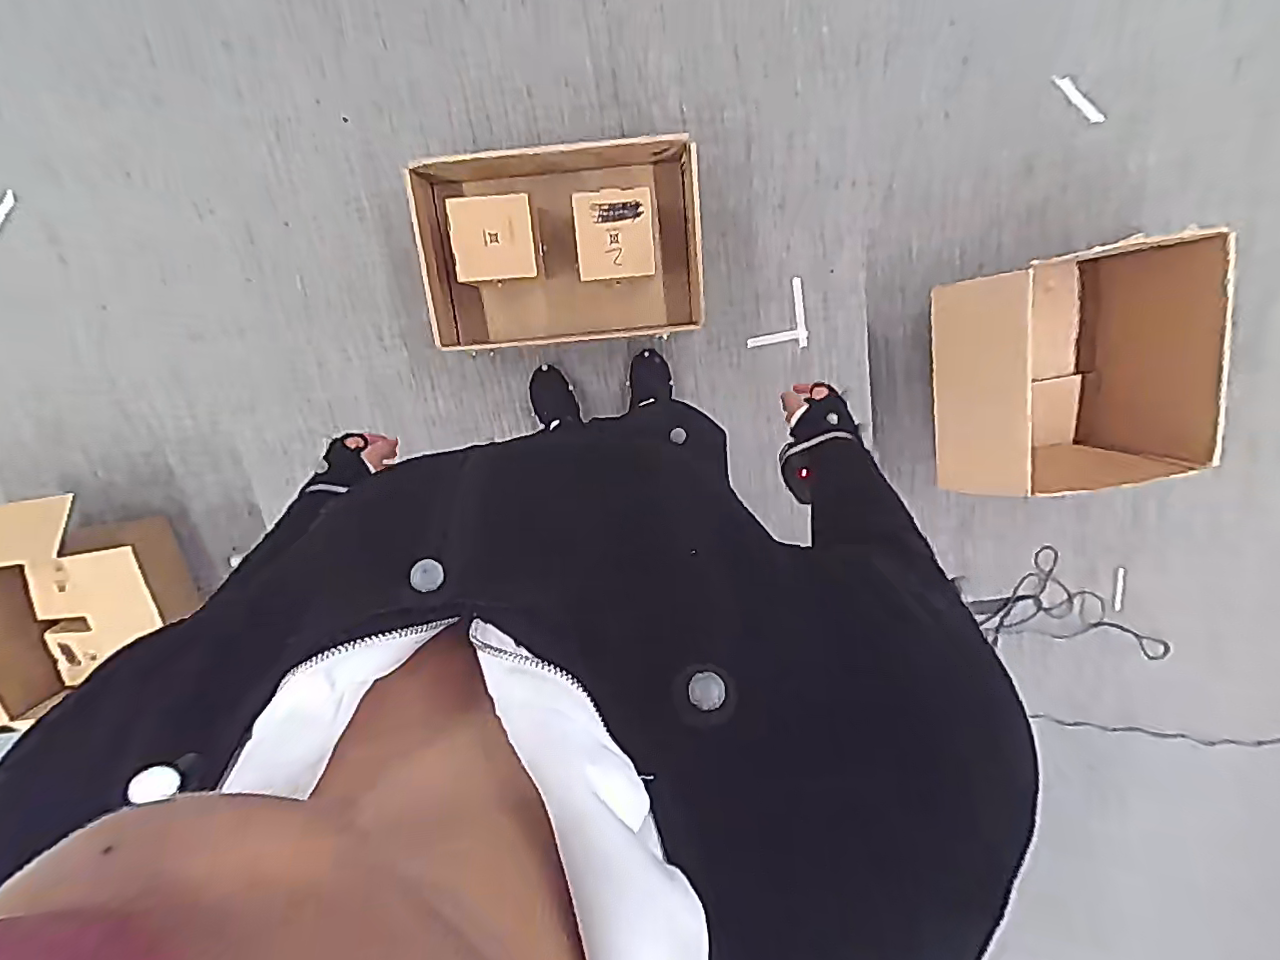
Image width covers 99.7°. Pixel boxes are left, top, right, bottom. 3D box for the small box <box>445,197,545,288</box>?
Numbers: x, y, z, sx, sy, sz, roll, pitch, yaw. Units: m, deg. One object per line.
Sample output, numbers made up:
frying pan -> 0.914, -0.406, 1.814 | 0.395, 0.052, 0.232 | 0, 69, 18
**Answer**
small box -> -0.323, -0.535, 1.236 | 0.179, 0.176, 0.168 | -5, 107, -2
